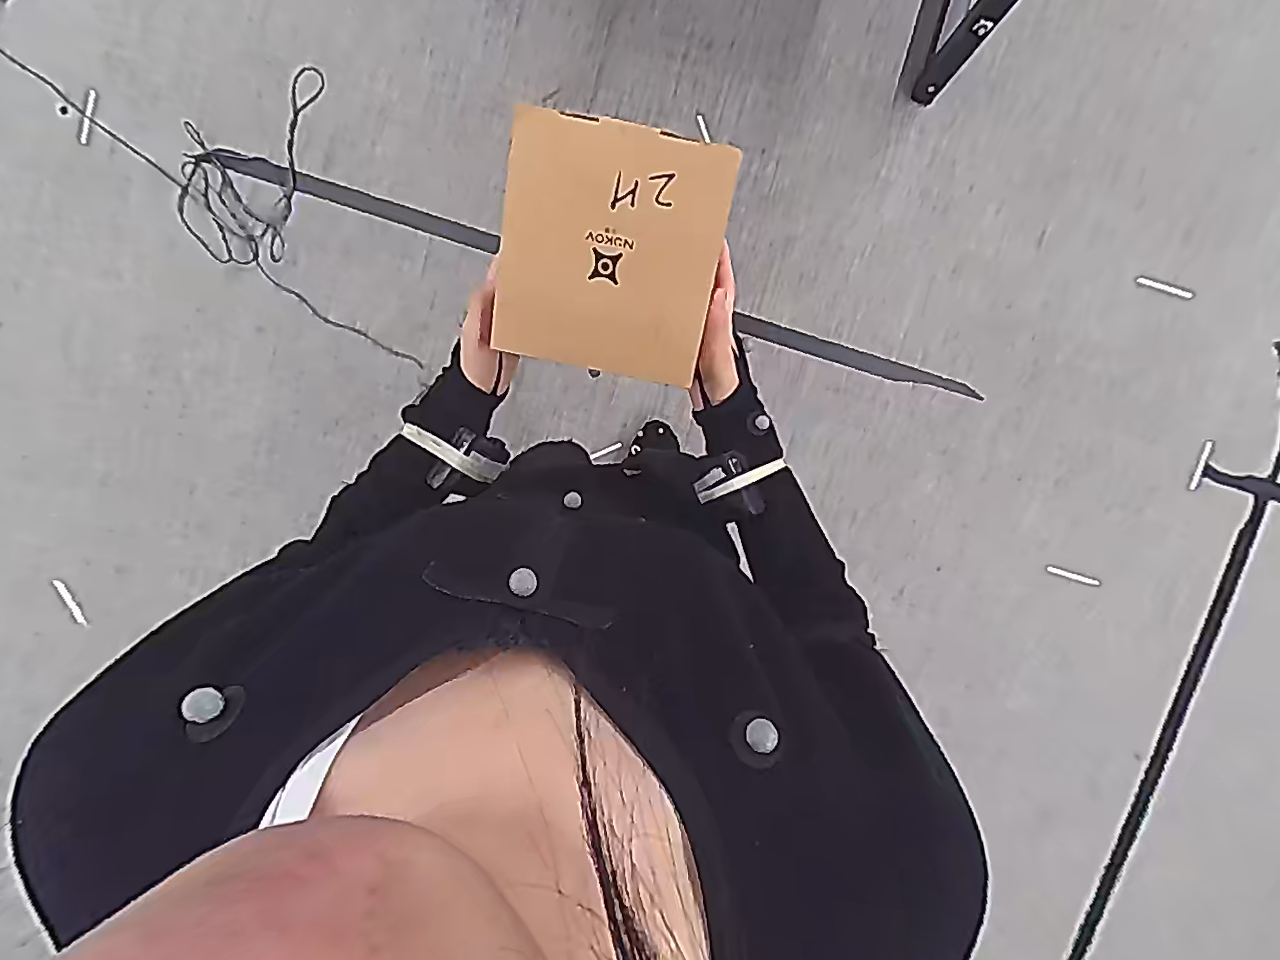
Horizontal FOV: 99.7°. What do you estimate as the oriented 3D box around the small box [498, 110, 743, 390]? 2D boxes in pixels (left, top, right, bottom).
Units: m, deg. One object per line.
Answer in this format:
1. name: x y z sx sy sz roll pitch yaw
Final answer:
1. small box: -0.016 -0.193 0.491 0.168 0.176 0.179 11 106 -1
